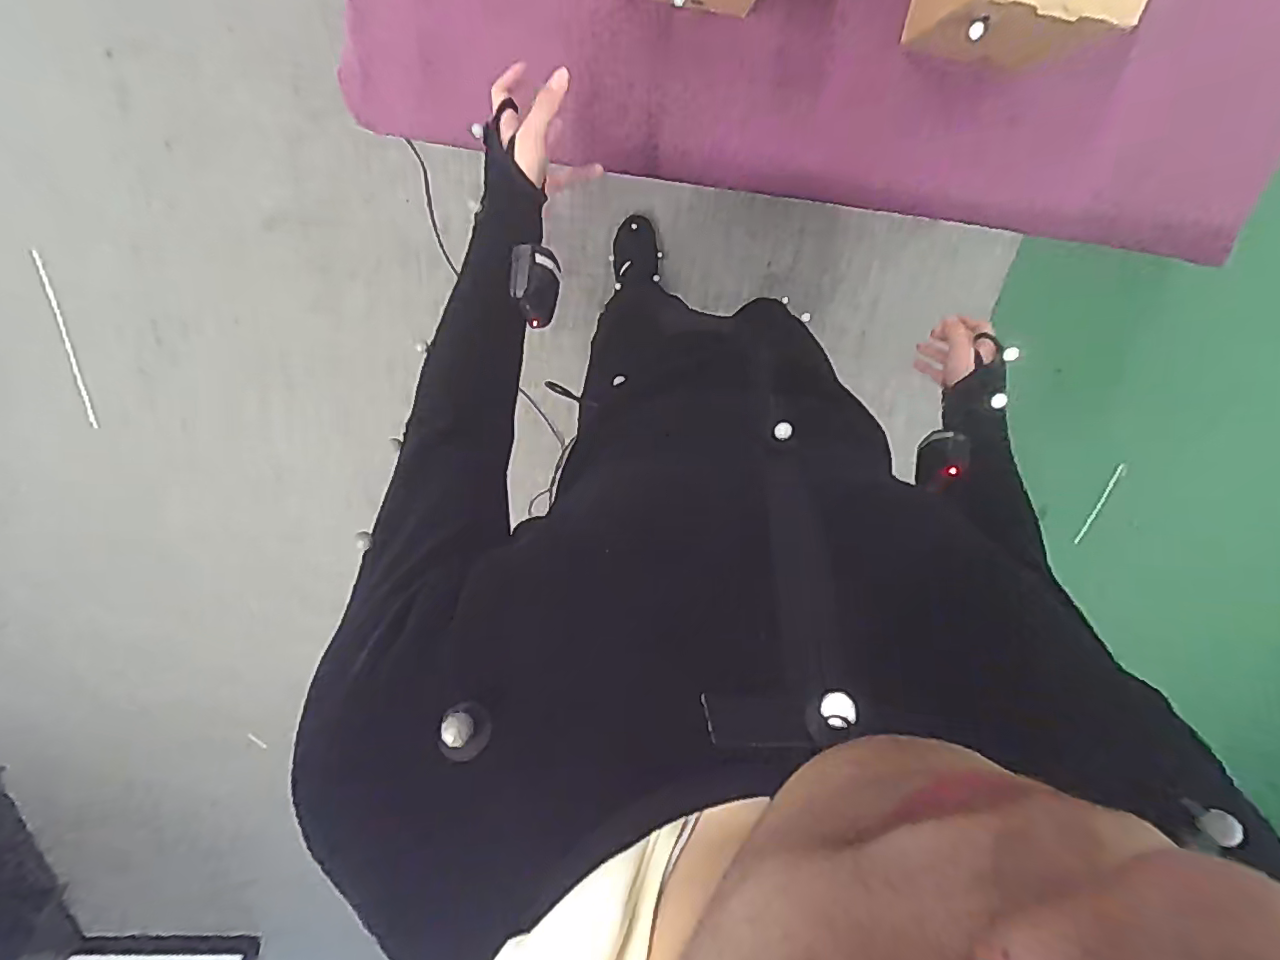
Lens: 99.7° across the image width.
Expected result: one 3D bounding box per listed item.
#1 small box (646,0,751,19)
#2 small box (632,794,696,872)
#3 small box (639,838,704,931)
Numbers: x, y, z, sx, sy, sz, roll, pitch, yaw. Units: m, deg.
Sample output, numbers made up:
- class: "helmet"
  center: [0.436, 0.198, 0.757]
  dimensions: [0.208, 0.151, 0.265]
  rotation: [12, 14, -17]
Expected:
- class: "small box"
  center: [0.056, -0.591, 0.517]
  dimensions: [0.168, 0.176, 0.179]
  rotation: [6, 116, -7]
- class: "small box"
  center: [0.076, 1.195, 1.830]
  dimensions: [0.179, 0.176, 0.168]
  rotation: [9, 115, -9]
- class: "small box"
  center: [0.091, 1.257, 1.681]
  dimensions: [0.168, 0.176, 0.179]
  rotation: [9, 116, -7]
